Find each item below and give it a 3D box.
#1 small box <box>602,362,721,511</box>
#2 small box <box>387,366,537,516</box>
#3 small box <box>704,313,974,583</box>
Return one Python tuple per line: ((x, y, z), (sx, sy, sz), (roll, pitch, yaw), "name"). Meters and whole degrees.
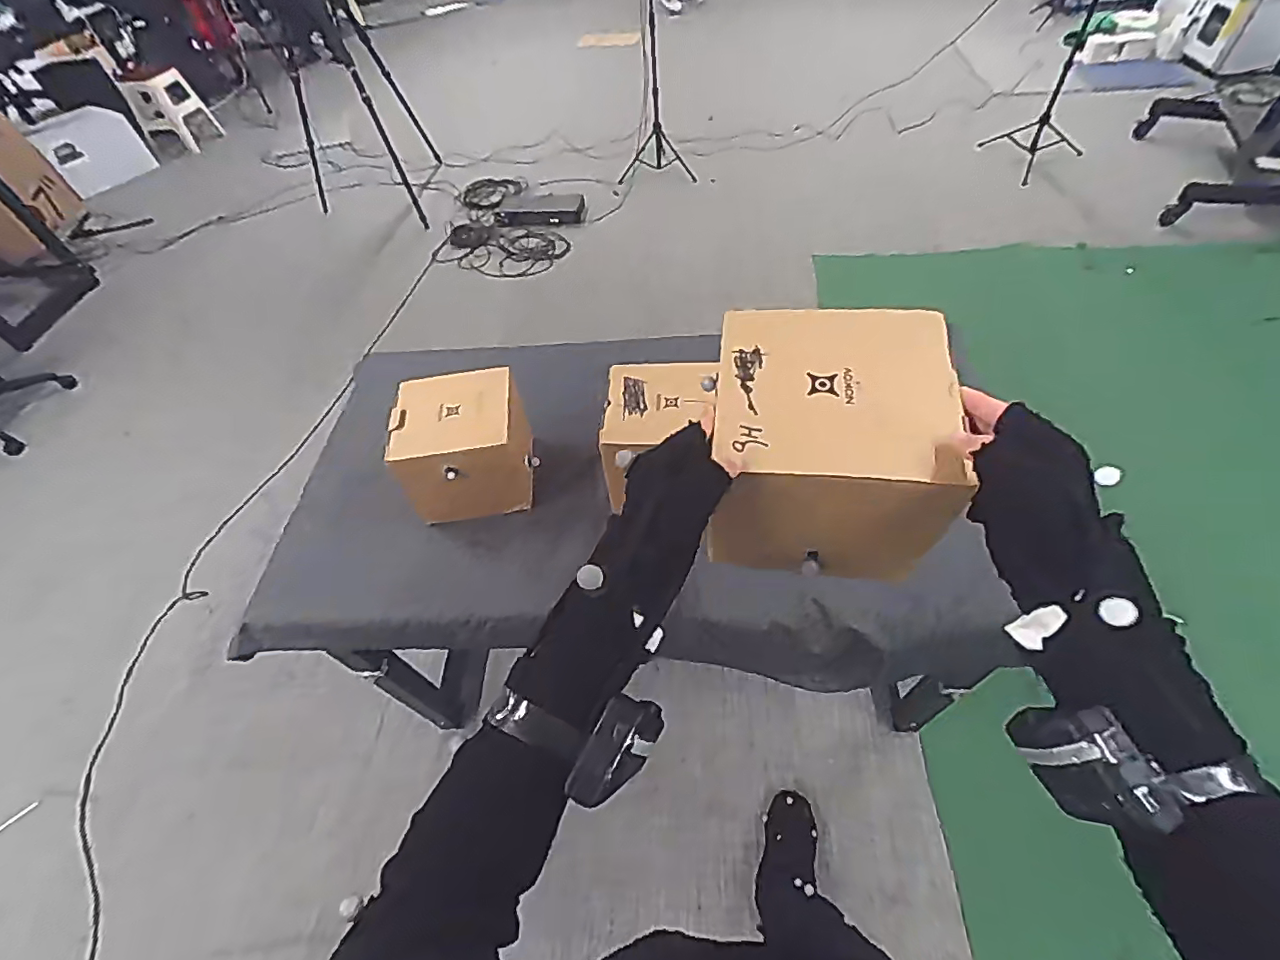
((0.045, -0.064, 0.839), (0.179, 0.176, 0.168), (0, 53, 5), "small box")
((-0.271, -0.056, 0.866), (0.179, 0.176, 0.168), (-8, 53, -1), "small box")
((0.152, -0.021, 0.471), (0.179, 0.176, 0.168), (5, 57, 9), "small box")
